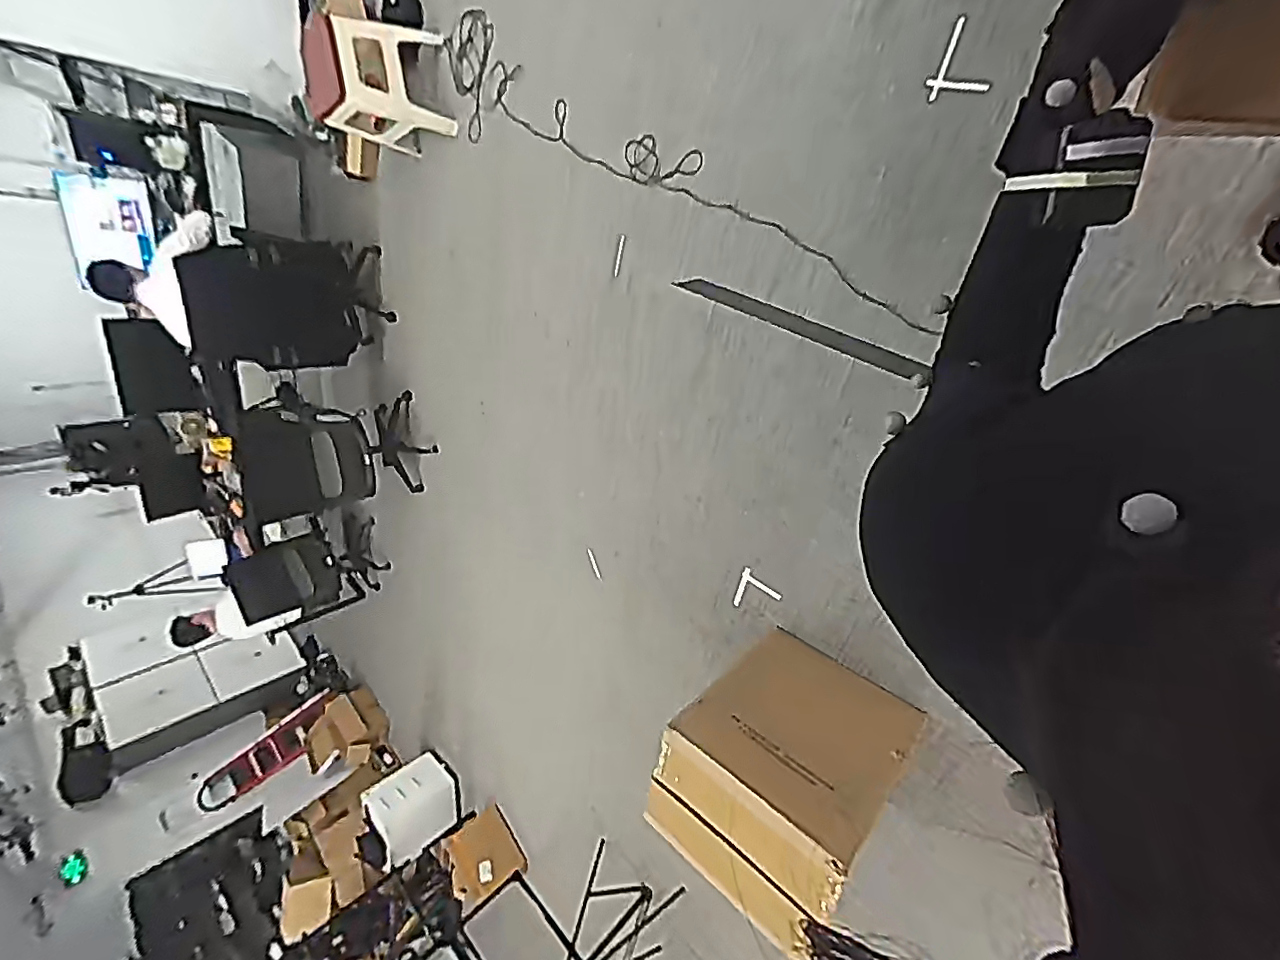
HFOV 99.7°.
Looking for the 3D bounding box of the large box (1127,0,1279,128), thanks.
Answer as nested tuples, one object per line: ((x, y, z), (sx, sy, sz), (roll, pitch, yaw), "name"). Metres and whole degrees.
((0.603, -0.410, 0.318), (0.408, 0.320, 0.320), (20, 126, 31), "large box")
